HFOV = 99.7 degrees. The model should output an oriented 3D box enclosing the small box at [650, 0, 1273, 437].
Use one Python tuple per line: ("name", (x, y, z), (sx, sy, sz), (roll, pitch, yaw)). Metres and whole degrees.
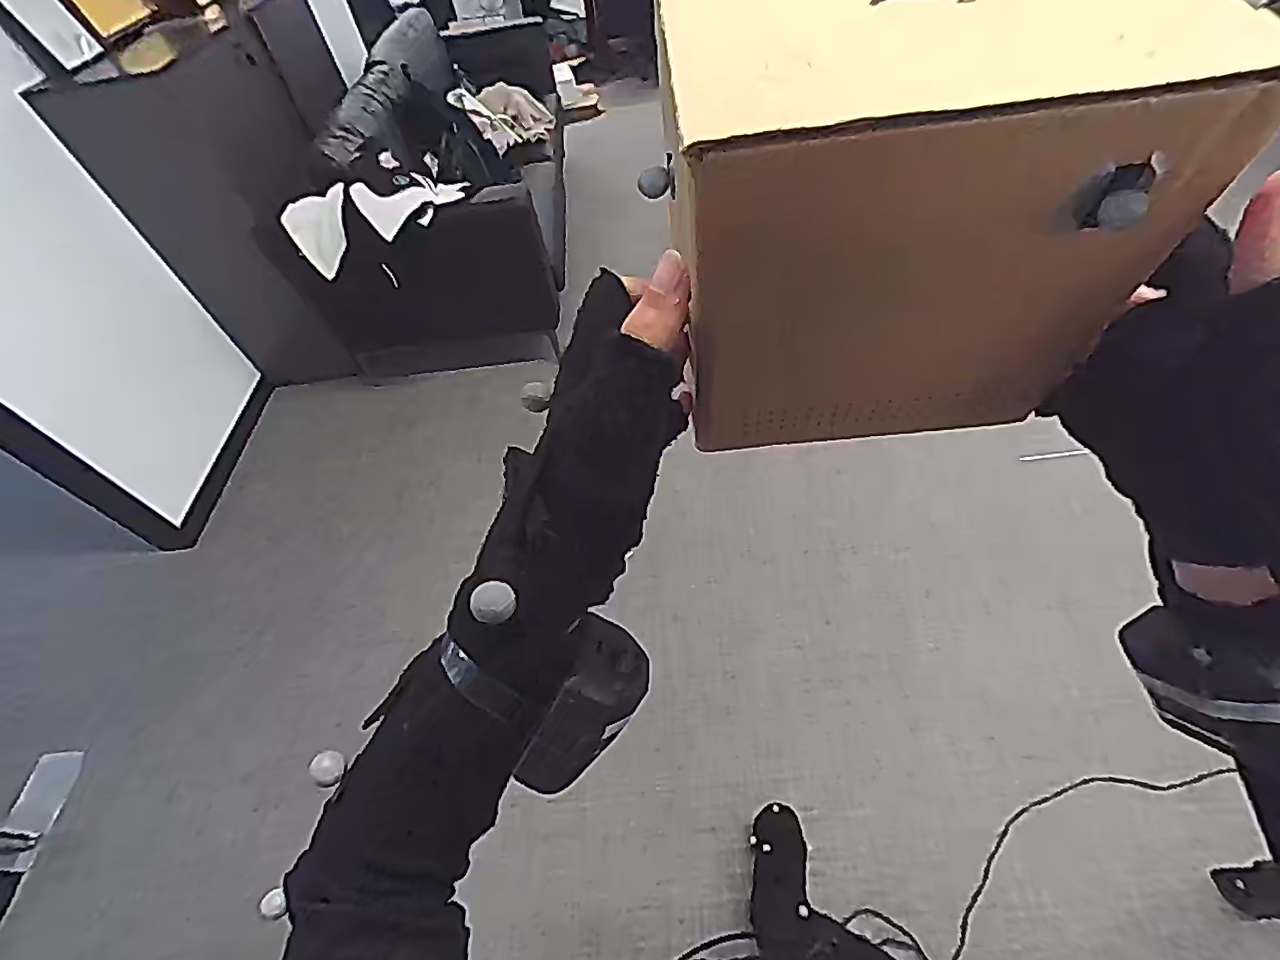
("small box", (0.103, -0.135, 0.270), (0.179, 0.176, 0.168), (-5, 60, 3))
